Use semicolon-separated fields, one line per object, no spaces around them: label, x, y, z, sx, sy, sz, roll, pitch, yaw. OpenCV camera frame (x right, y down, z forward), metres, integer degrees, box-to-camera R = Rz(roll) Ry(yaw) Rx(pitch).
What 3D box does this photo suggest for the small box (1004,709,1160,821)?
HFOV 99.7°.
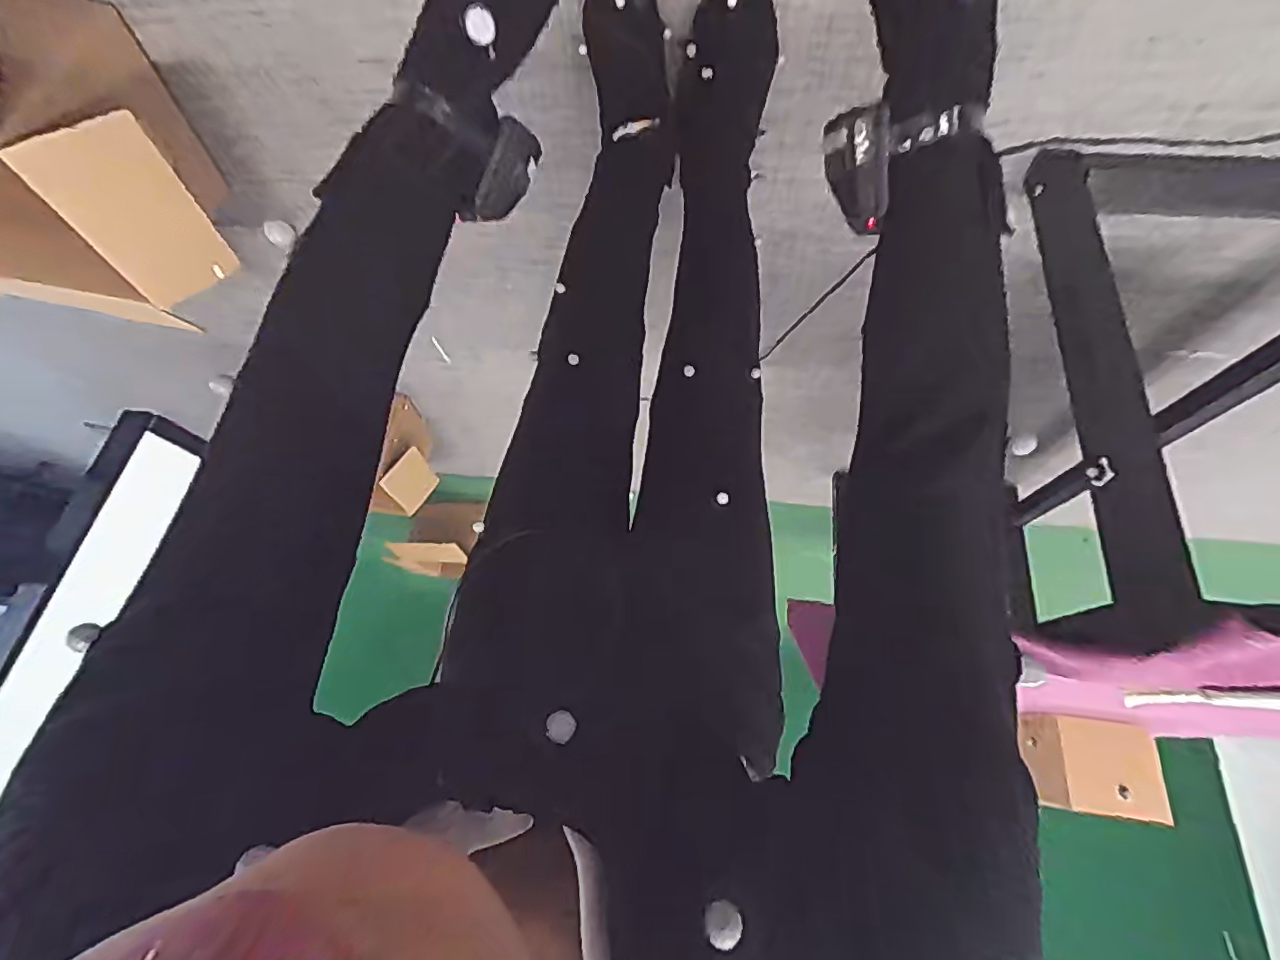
small box;0.880;0.567;1.097;0.179;0.176;0.168;6;157;6
